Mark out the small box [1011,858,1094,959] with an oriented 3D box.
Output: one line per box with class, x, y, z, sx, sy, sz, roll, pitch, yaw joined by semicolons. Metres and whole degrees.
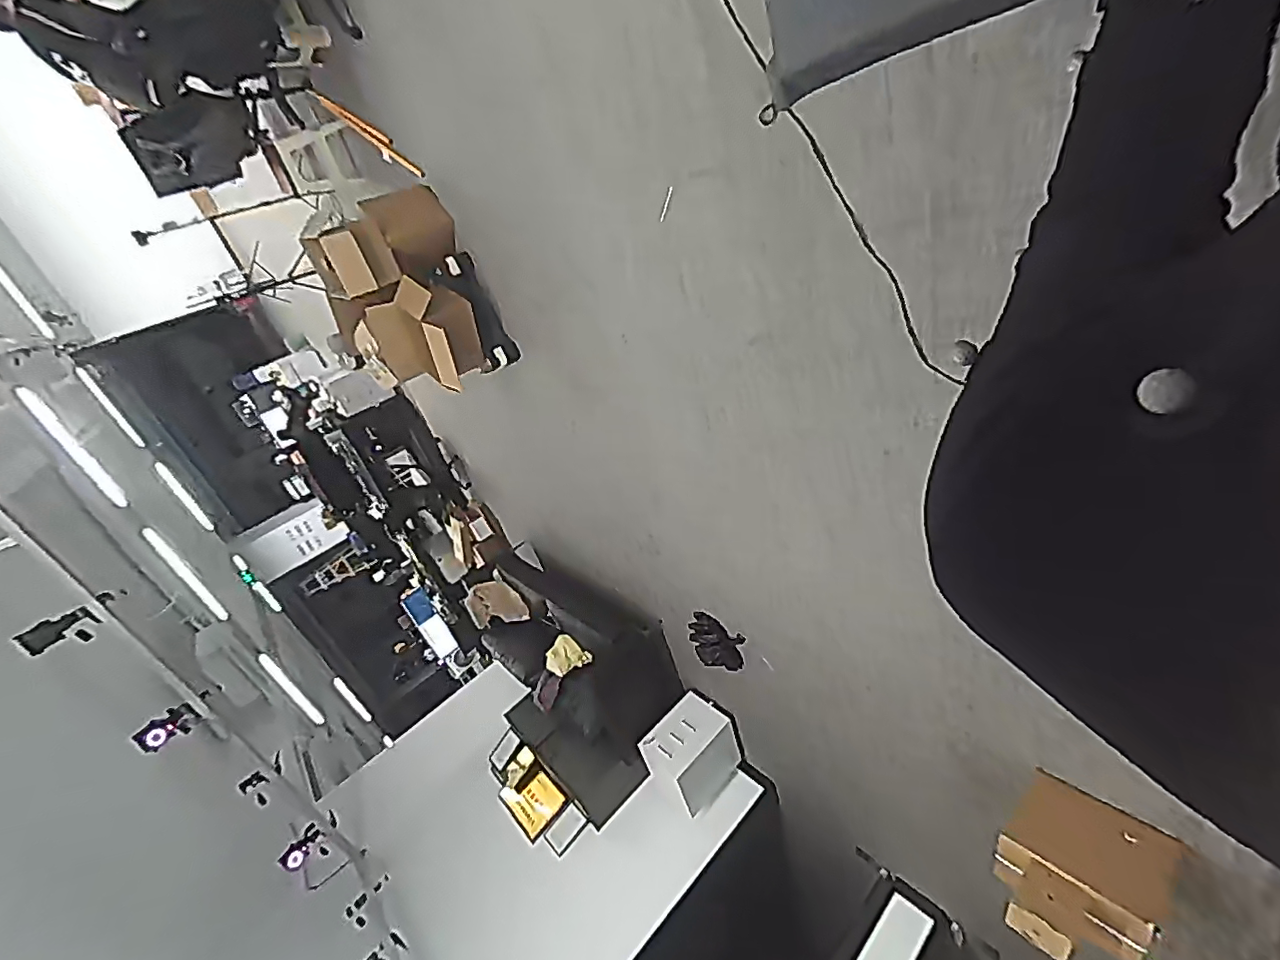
small box;1.323;1.369;1.732;0.168;0.176;0.179;20;136;46
